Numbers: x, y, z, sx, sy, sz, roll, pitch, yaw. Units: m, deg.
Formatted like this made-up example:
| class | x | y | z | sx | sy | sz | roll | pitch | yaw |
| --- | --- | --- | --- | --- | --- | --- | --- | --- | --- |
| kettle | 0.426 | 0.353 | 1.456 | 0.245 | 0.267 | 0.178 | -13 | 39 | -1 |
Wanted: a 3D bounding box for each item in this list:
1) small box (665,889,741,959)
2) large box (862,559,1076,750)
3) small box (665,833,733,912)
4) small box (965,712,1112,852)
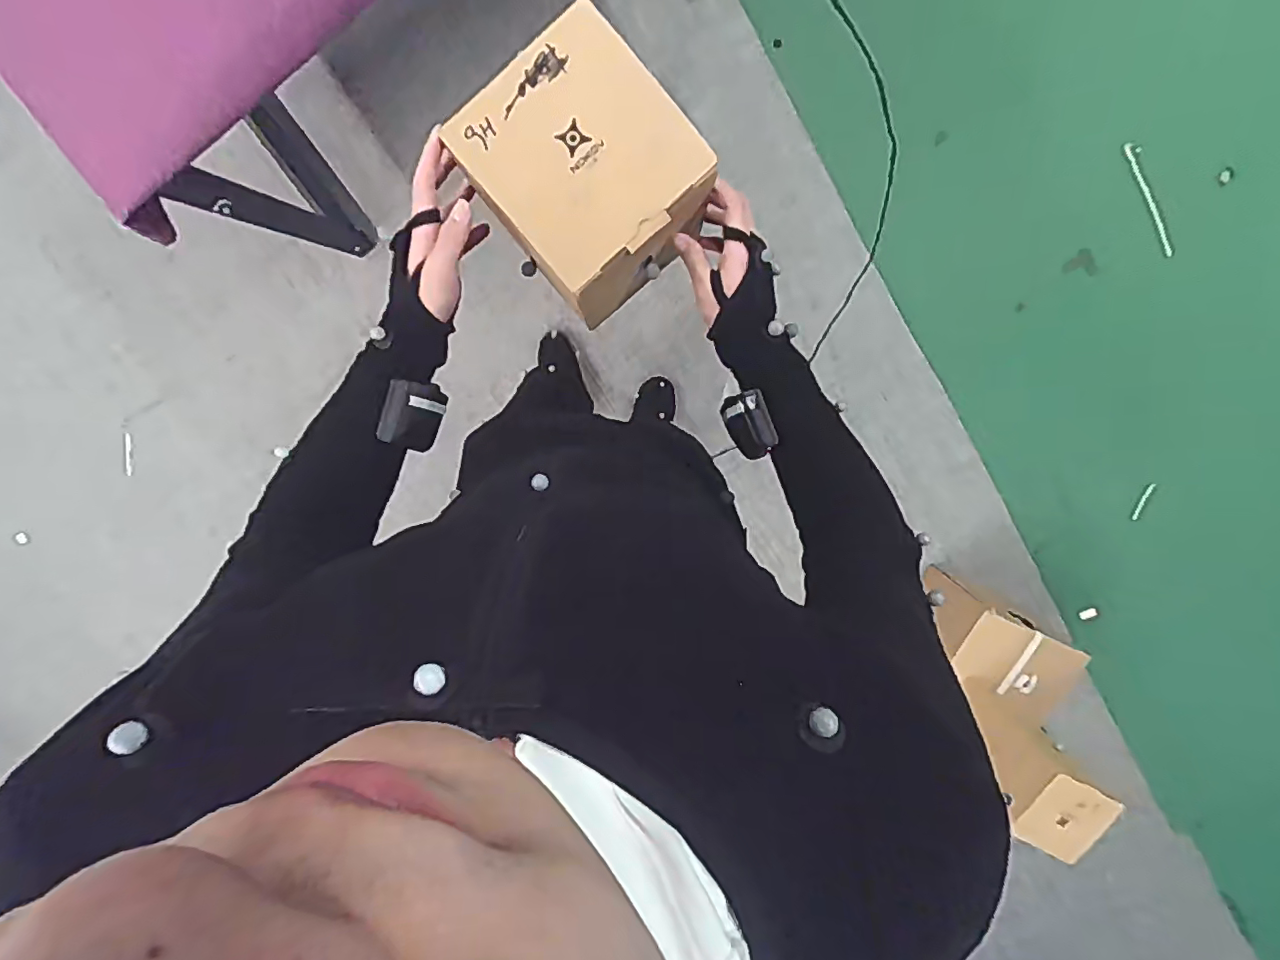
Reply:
| class | x | y | z | sx | sy | sz | roll | pitch | yaw |
| --- | --- | --- | --- | --- | --- | --- | --- | --- | --- |
| small box | 0.160 | 1.177 | 1.368 | 0.168 | 0.176 | 0.179 | -13 | 102 | 7 |
| large box | 0.927 | 0.509 | 1.586 | 0.320 | 0.320 | 0.408 | 23 | 103 | -4 |
| small box | 0.168 | 1.147 | 1.528 | 0.168 | 0.176 | 0.179 | -12 | 101 | 6 |
| small box | 0.867 | 0.664 | 1.203 | 0.168 | 0.176 | 0.179 | 28 | 103 | -5 |
